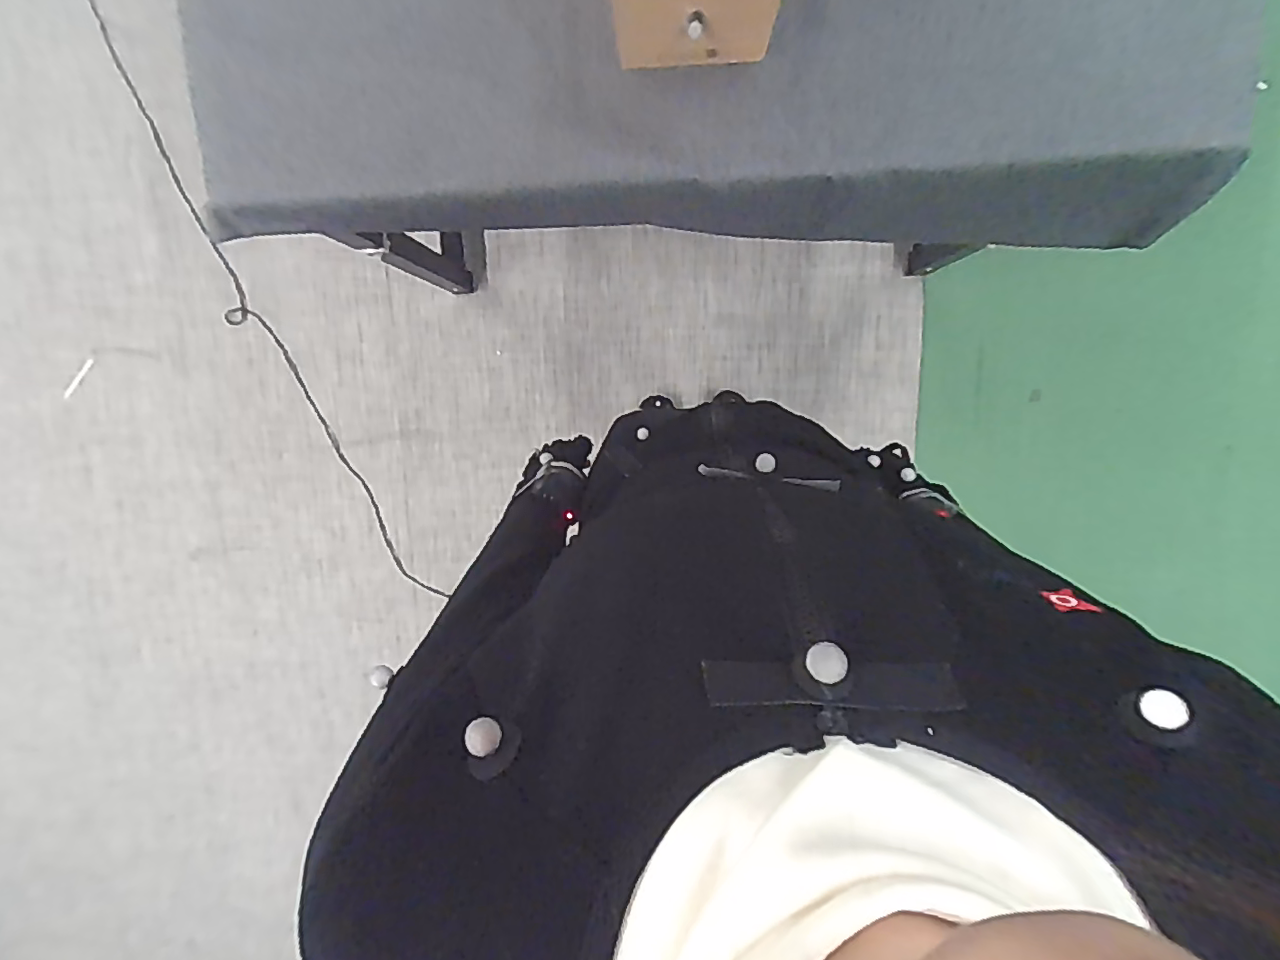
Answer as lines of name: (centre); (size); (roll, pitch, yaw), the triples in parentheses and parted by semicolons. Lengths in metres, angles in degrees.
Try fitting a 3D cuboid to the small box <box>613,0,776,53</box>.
small box: (0.053, -0.551, 0.521); (0.168, 0.176, 0.179); (-2, 100, 4)
